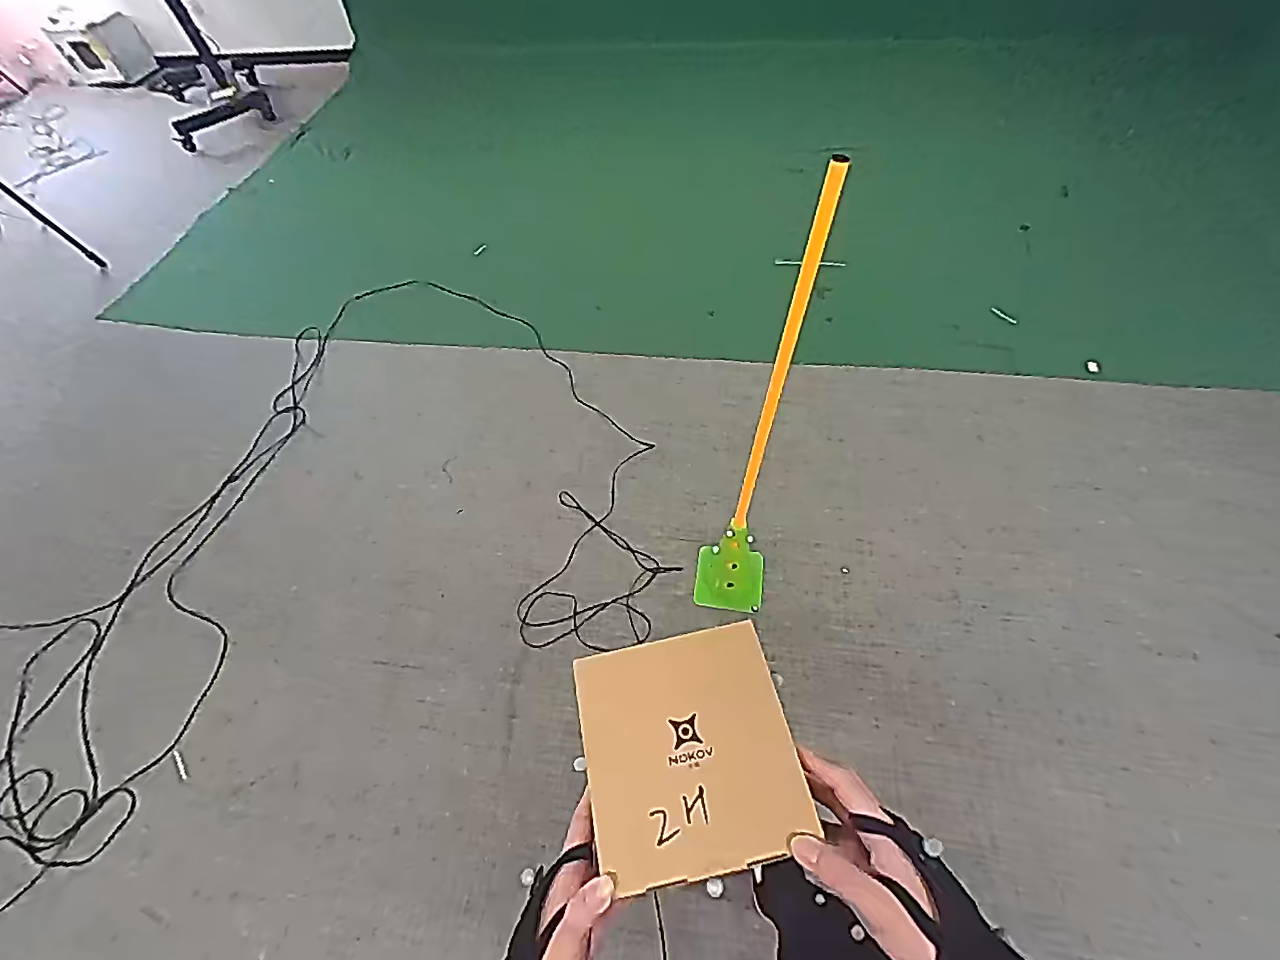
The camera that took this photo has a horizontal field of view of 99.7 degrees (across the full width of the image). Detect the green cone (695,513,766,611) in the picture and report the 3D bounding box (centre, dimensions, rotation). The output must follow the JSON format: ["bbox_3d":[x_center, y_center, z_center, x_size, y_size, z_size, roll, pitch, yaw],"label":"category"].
[{"bbox_3d":[0.259,0.196,1.494,0.202,0.368,0.200,5,56,10],"label":"green cone"}]
